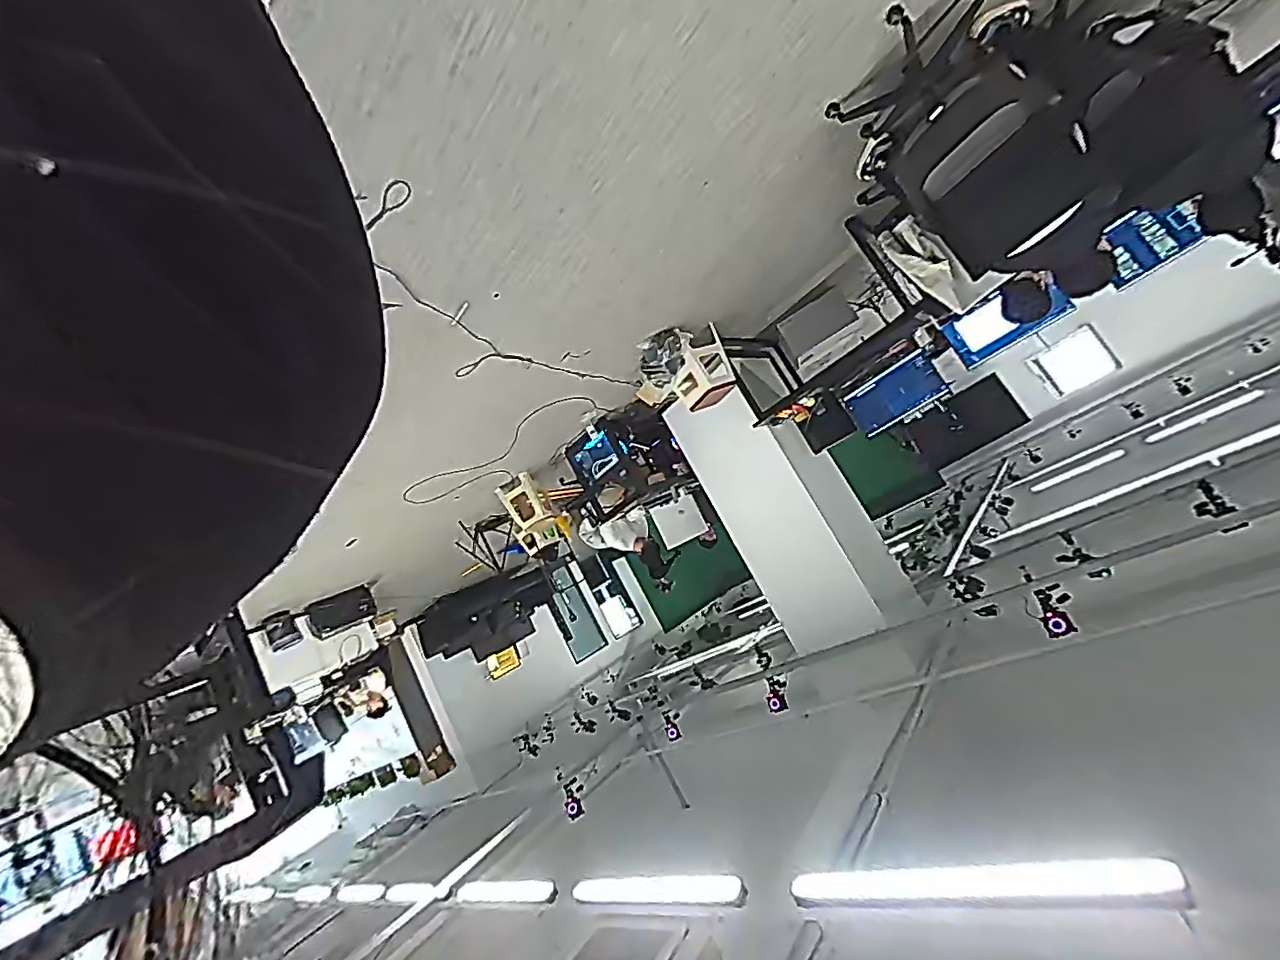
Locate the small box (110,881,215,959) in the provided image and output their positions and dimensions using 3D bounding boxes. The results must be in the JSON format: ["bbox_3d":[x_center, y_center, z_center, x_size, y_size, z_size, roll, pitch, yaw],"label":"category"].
[{"bbox_3d":[-1.298,1.228,1.466,0.179,0.176,0.168,-34,169,35],"label":"small box"}]
